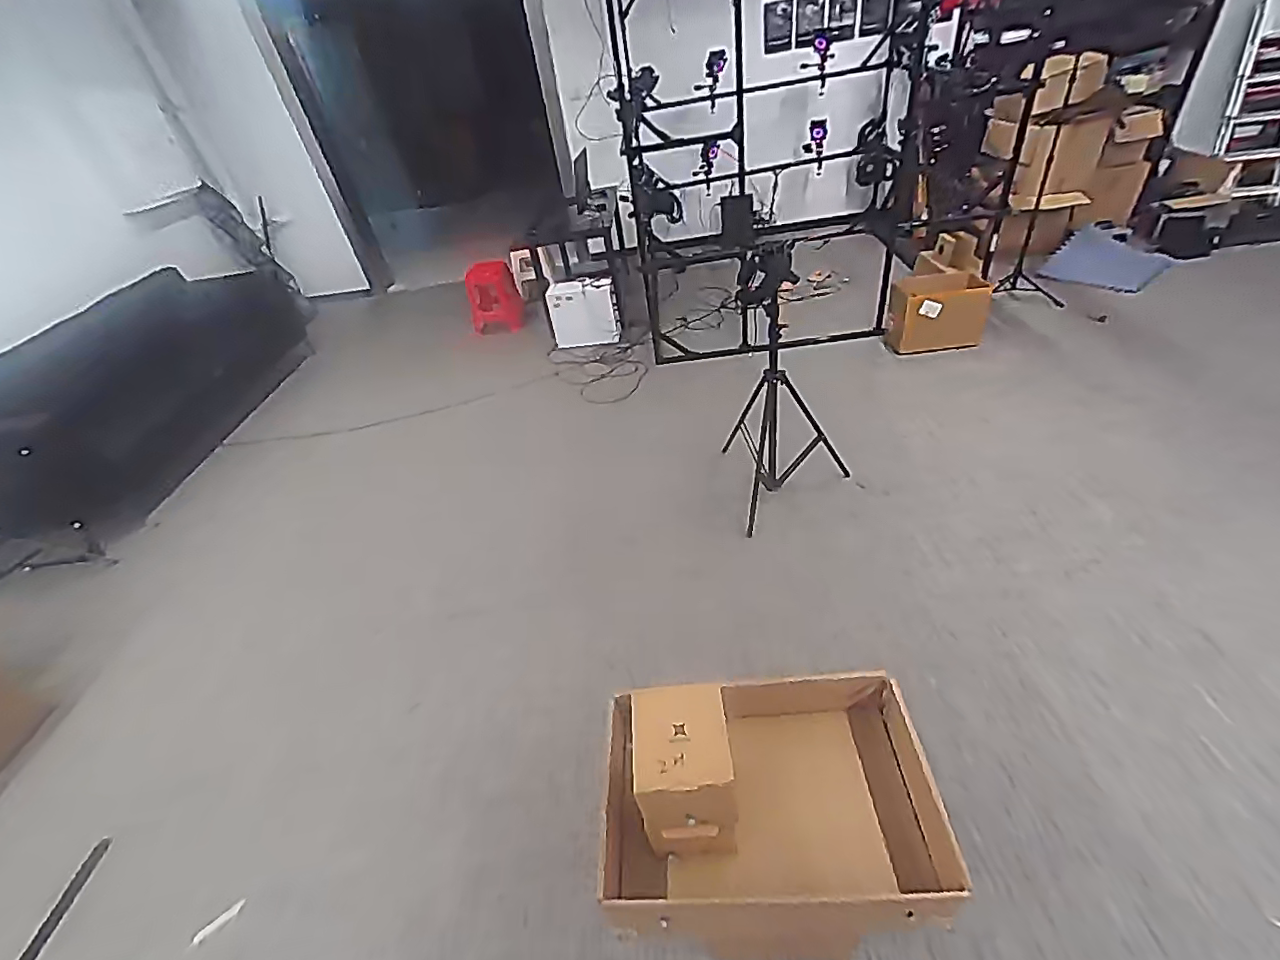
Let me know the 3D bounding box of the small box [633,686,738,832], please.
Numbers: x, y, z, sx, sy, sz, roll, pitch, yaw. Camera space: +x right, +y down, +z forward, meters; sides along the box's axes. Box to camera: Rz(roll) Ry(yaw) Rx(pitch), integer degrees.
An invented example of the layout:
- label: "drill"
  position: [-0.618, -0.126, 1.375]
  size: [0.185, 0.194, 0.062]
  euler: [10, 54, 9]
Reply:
- label: "small box"
  position: [0.080, 0.500, 0.971]
  size: [0.168, 0.176, 0.179]
  euler: [-8, 39, 5]

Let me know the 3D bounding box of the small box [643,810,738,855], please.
- label: "small box"
  position: [0.099, 0.624, 1.077]
  size: [0.168, 0.176, 0.179]
  euler: [-7, 37, 6]
